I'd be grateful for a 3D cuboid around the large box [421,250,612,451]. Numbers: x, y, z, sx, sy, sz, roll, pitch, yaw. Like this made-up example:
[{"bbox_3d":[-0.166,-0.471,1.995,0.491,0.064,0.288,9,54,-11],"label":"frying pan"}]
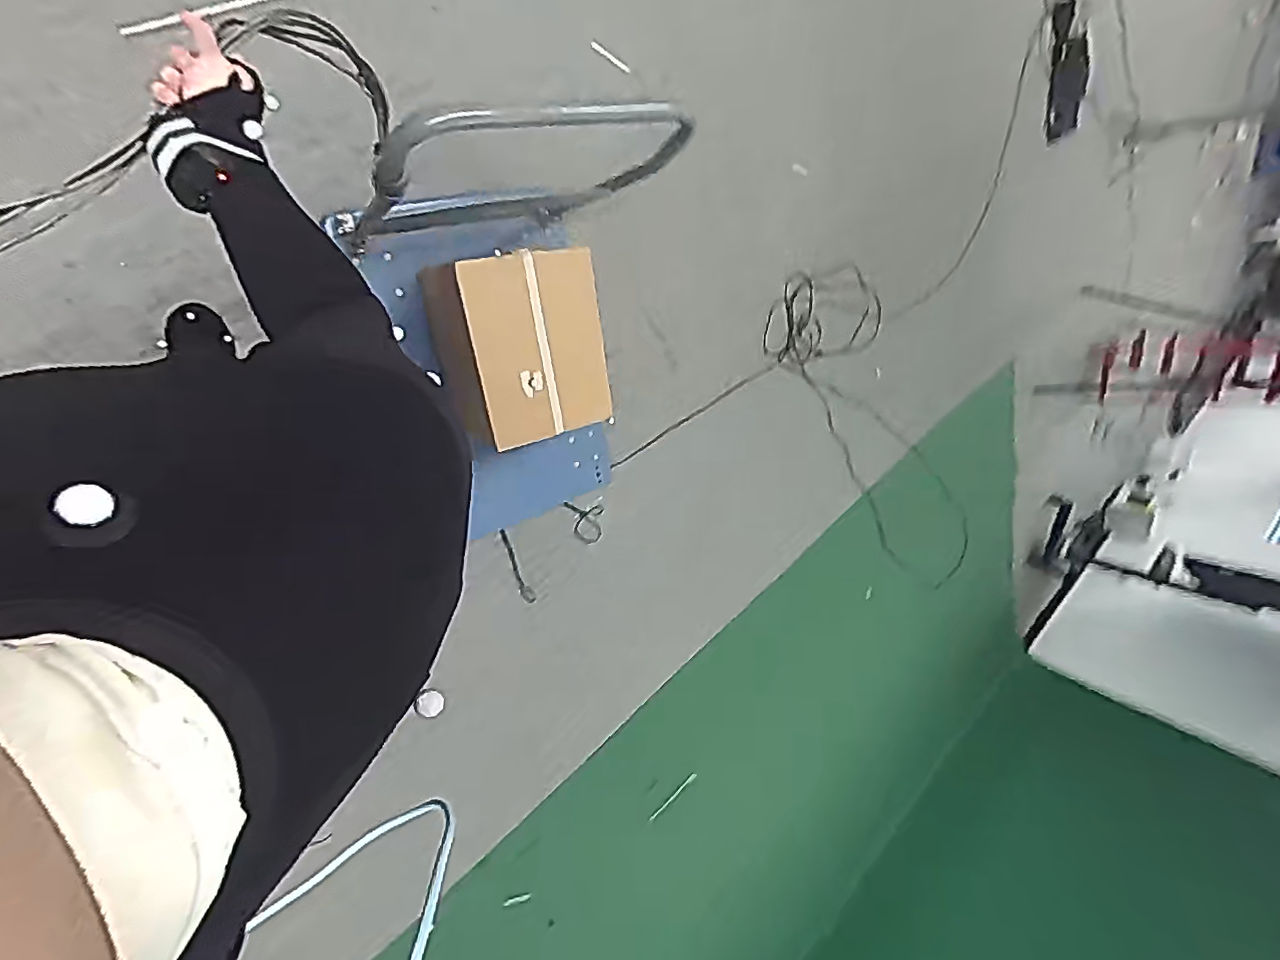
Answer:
[{"bbox_3d":[-0.299,-0.330,1.332,0.320,0.320,0.408,-20,117,-29],"label":"large box"}]
